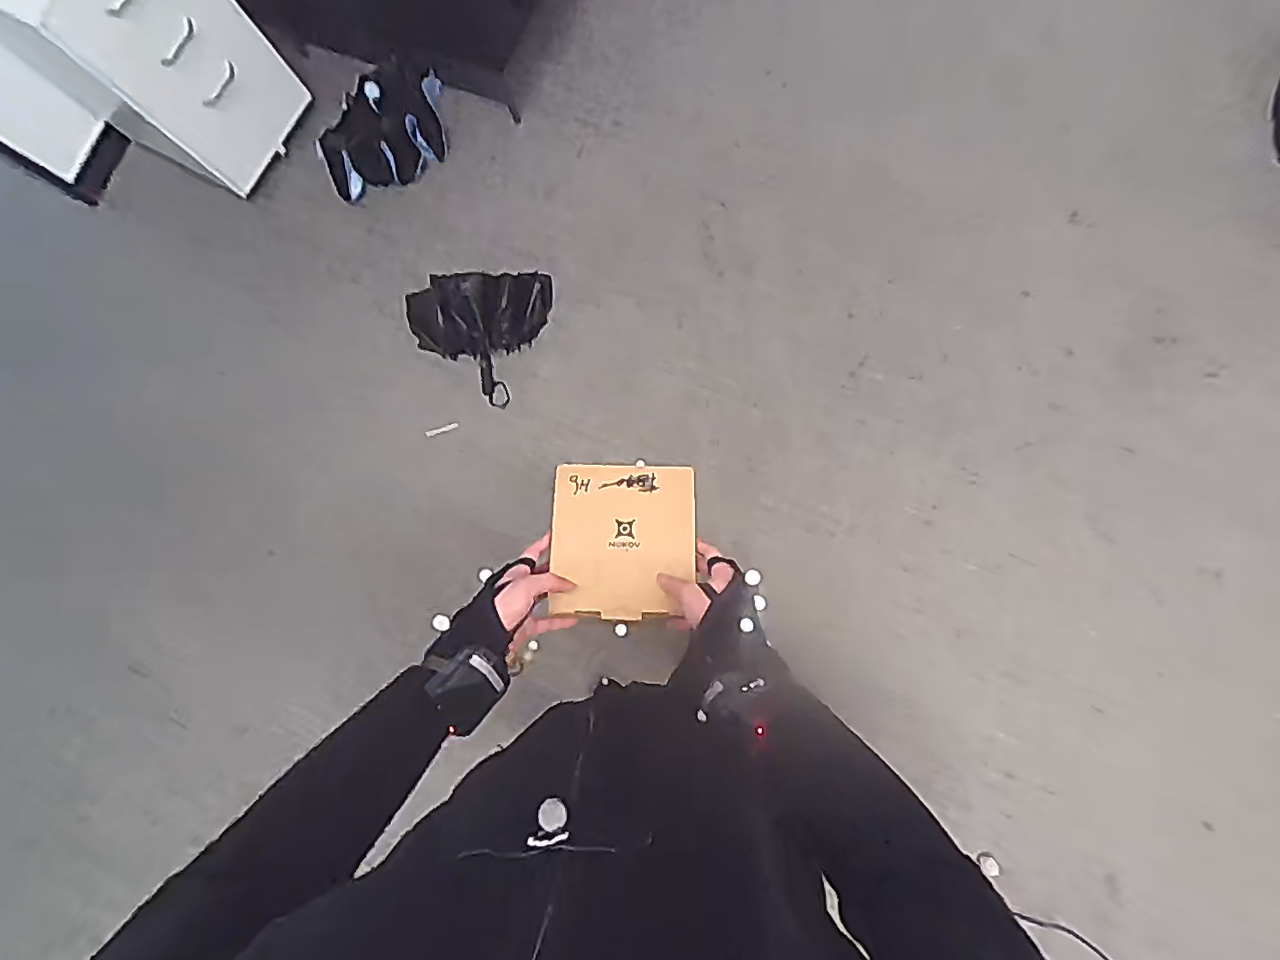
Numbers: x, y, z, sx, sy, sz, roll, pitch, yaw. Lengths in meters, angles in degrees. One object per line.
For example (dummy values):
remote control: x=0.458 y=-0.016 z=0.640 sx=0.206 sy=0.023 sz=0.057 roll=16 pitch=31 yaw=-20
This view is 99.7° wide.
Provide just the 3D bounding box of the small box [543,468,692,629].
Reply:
small box: x=-0.021 y=0.095 z=0.687 sx=0.168 sy=0.176 sz=0.179 roll=1 pitch=70 yaw=0
